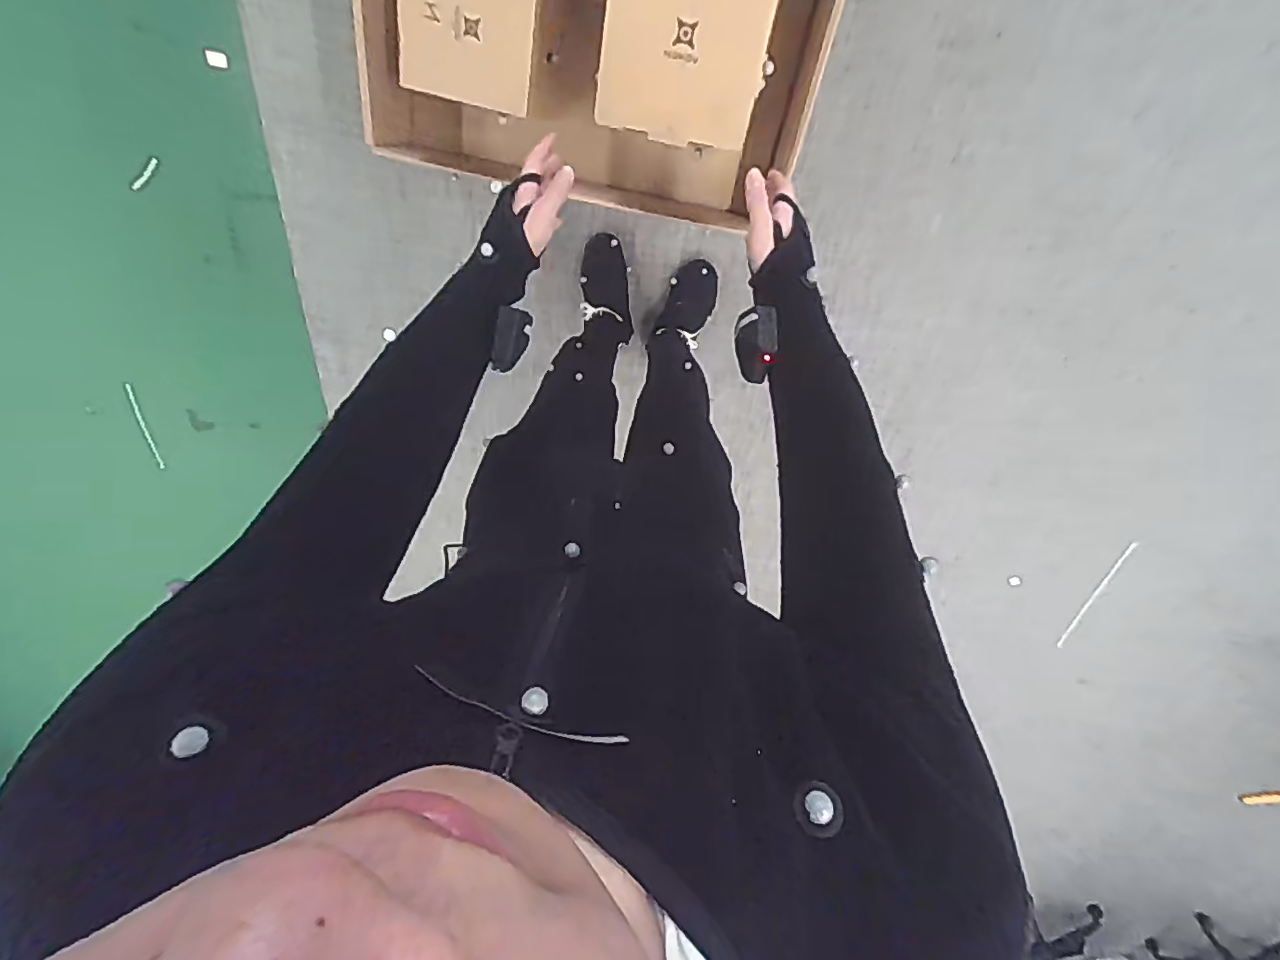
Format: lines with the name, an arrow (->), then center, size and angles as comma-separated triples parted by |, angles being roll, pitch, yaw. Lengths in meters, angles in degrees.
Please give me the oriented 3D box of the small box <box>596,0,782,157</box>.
small box -> 0.055, -0.480, 0.603 | 0.168, 0.176, 0.179 | 12, 123, -2
